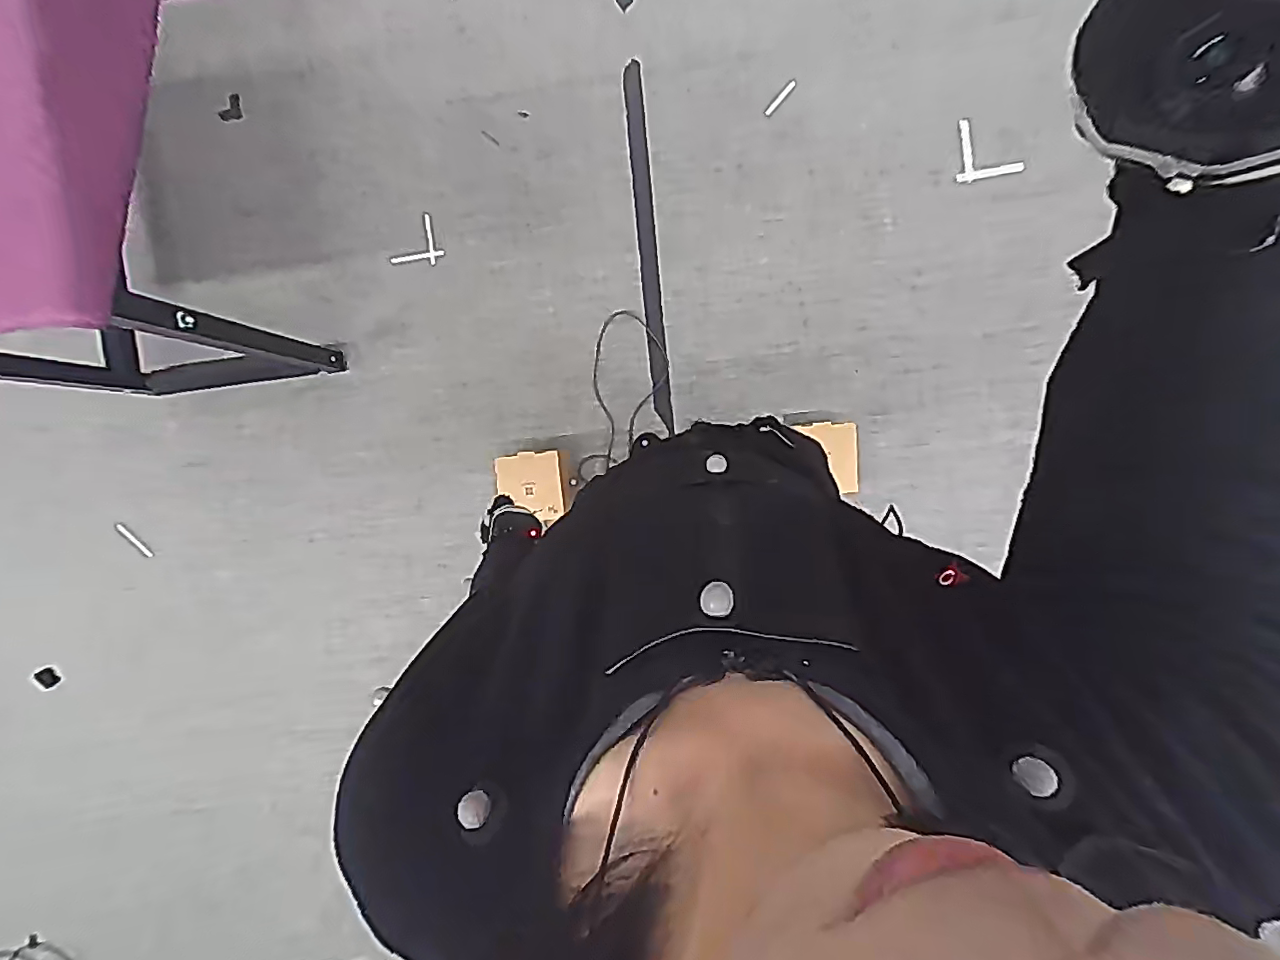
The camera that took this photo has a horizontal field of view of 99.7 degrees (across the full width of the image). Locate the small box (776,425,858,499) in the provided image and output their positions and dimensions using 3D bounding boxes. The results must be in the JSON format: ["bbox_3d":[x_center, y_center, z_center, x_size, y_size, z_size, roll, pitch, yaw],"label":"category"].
[{"bbox_3d":[0.452,-0.048,1.404,0.168,0.176,0.179,-4,94,4],"label":"small box"}]

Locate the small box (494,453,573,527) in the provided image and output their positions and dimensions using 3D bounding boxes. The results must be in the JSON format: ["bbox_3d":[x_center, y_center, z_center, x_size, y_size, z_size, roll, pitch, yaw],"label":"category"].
[{"bbox_3d":[-0.278,0.025,1.437,0.168,0.176,0.179,-6,90,3],"label":"small box"}]
